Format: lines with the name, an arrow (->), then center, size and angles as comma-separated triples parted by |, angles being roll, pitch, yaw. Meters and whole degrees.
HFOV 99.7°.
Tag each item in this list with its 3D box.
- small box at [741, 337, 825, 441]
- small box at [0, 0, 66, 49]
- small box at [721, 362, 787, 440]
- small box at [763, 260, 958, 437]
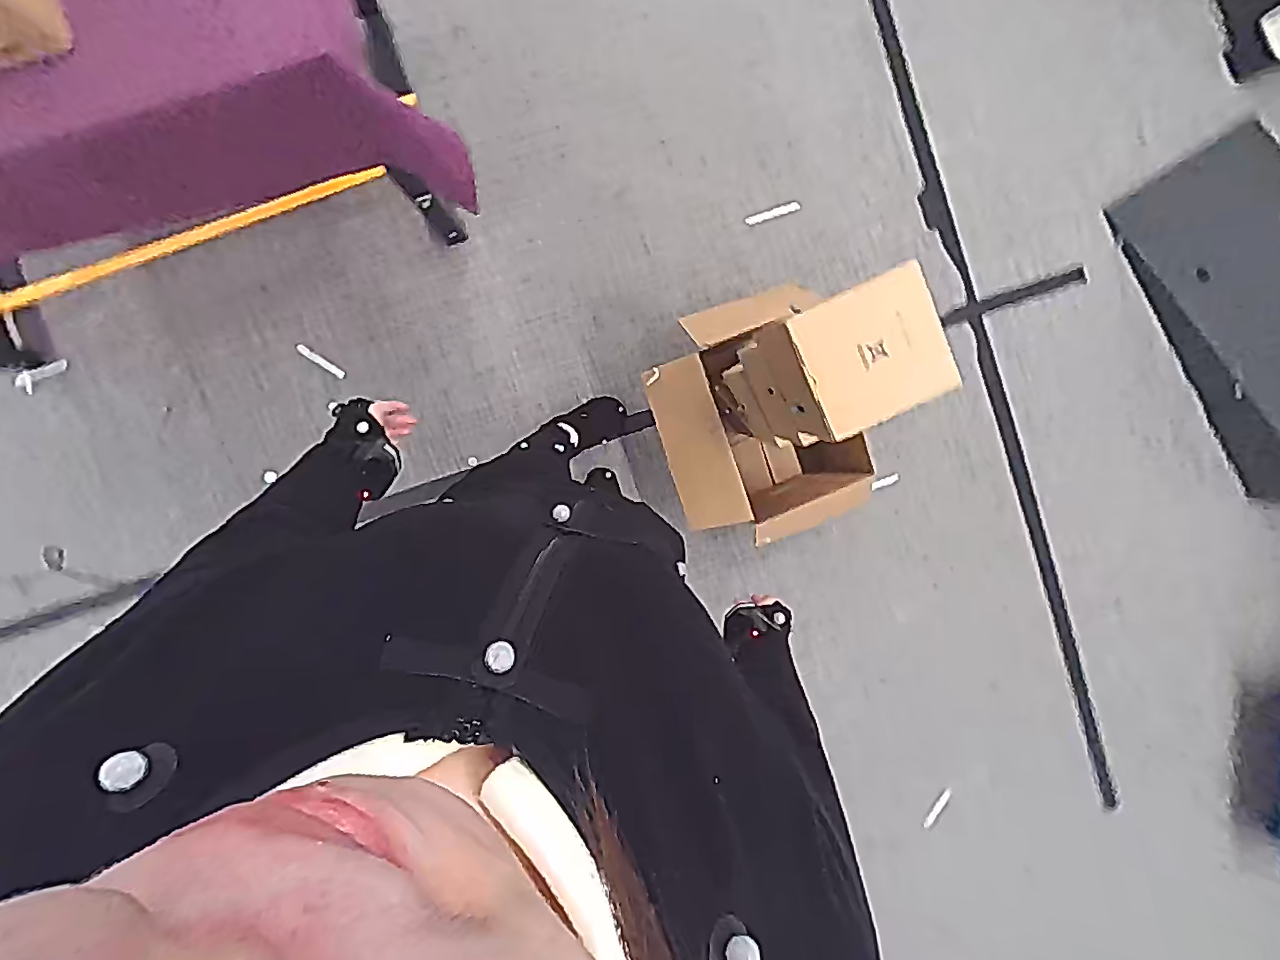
small box -> 0.286, -0.180, 0.906 | 0.168, 0.176, 0.179 | -25, 99, 4
small box -> -0.799, -0.604, 0.584 | 0.168, 0.176, 0.179 | -15, 95, -2
small box -> 0.308, -0.212, 1.234 | 0.168, 0.176, 0.179 | -39, 99, 4
small box -> 0.284, -0.171, 0.742 | 0.179, 0.176, 0.168 | -24, 100, 2
